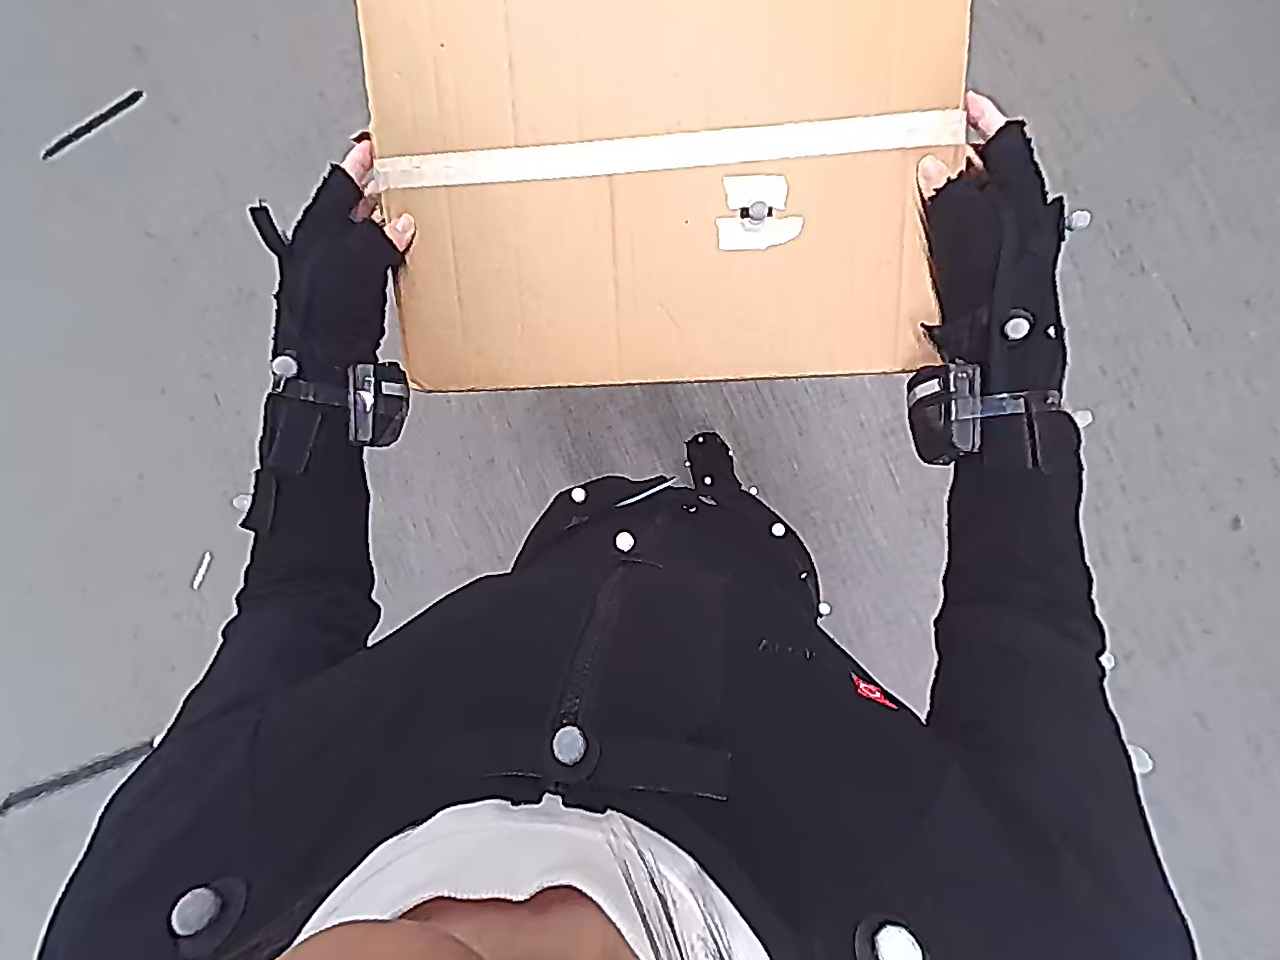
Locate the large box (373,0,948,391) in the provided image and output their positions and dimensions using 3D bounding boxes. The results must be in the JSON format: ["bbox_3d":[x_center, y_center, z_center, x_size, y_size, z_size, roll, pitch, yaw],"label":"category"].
[{"bbox_3d":[0.022,-0.263,0.538,0.408,0.320,0.320,-3,102,4],"label":"large box"}]
